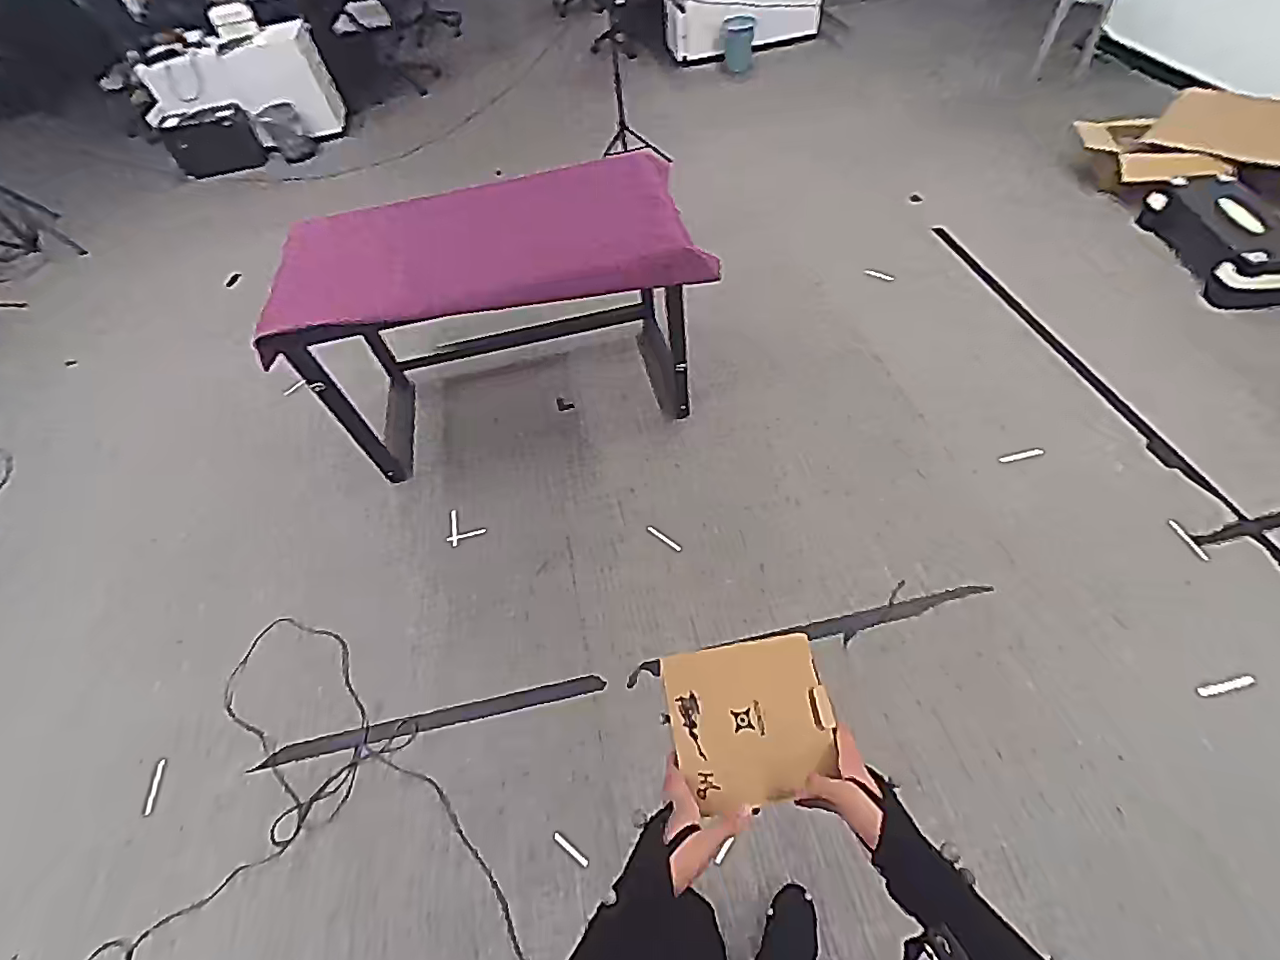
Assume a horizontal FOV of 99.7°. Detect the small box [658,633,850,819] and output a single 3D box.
[{"bbox_3d":[0.121,0.296,0.656,0.179,0.176,0.168,-9,62,-3],"label":"small box"}]
